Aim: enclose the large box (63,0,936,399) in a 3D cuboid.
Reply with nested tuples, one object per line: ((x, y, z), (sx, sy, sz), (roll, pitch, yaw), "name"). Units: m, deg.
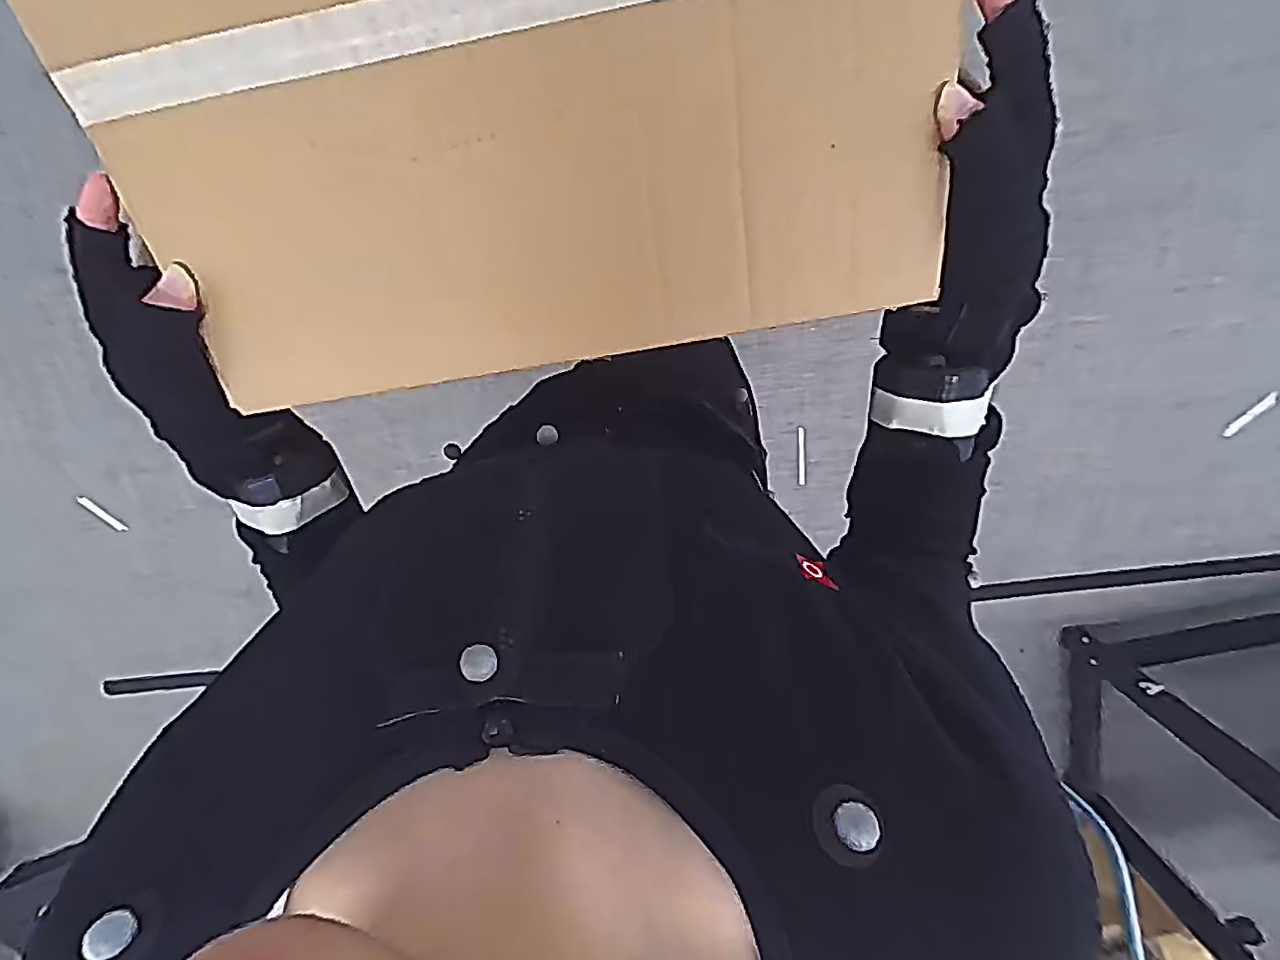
((-0.065, -0.280, 0.384), (0.408, 0.320, 0.320), (-9, 117, 4), "large box")
